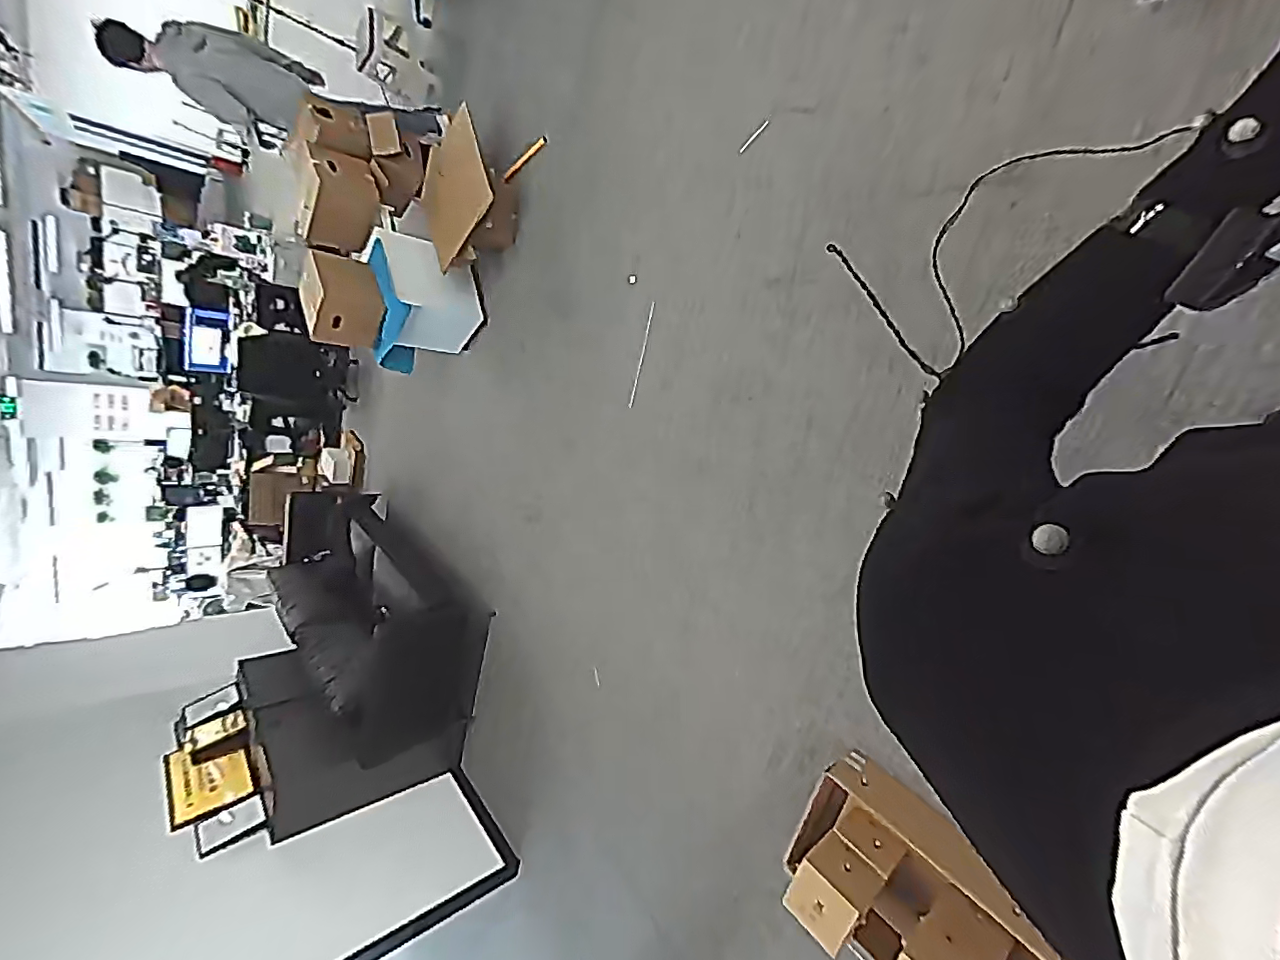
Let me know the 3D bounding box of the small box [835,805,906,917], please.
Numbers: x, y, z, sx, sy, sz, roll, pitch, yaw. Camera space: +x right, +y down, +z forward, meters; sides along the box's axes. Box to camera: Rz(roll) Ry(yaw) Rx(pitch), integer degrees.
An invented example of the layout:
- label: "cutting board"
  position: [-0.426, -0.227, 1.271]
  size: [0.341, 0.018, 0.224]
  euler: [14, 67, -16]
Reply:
- label: "small box"
  position: [0.653, 1.105, 1.586]
  size: [0.168, 0.176, 0.179]
  euler: [32, 113, 41]

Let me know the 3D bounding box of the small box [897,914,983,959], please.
- label: "small box"
  position: [0.706, 1.204, 1.287]
  size: [0.168, 0.176, 0.179]
  euler: [30, 112, 42]

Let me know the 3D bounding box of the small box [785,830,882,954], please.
- label: "small box"
  position: [0.532, 1.109, 1.473]
  size: [0.168, 0.176, 0.179]
  euler: [32, 114, 41]
